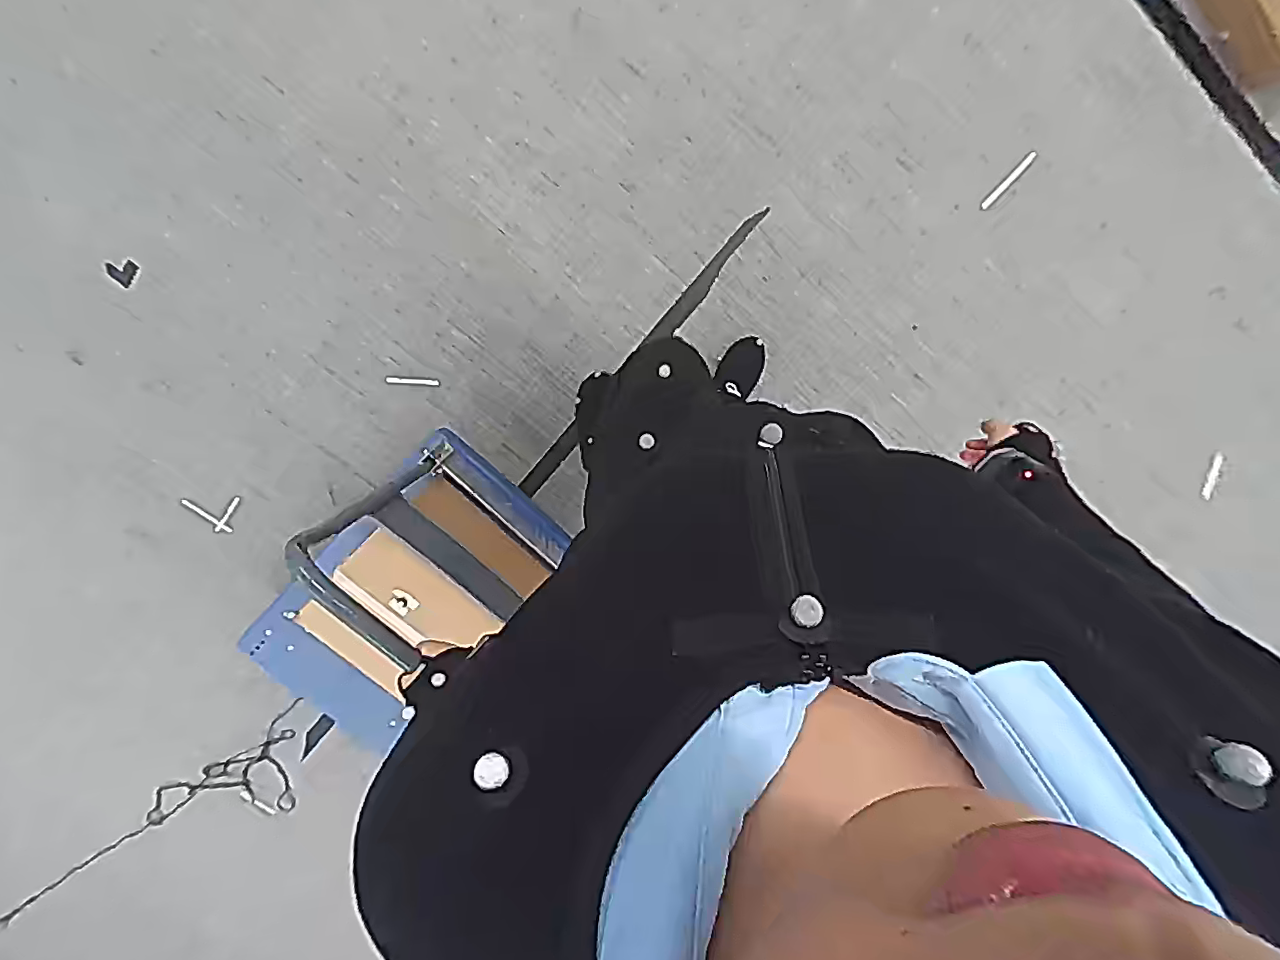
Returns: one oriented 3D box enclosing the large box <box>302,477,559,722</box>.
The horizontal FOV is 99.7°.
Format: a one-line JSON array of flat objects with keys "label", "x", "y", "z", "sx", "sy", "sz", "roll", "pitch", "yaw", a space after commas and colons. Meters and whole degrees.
[{"label": "large box", "x": -0.456, "y": 0.265, "z": 1.273, "sx": 0.320, "sy": 0.320, "sz": 0.408, "roll": -43, "pitch": 101, "yaw": 11}]
